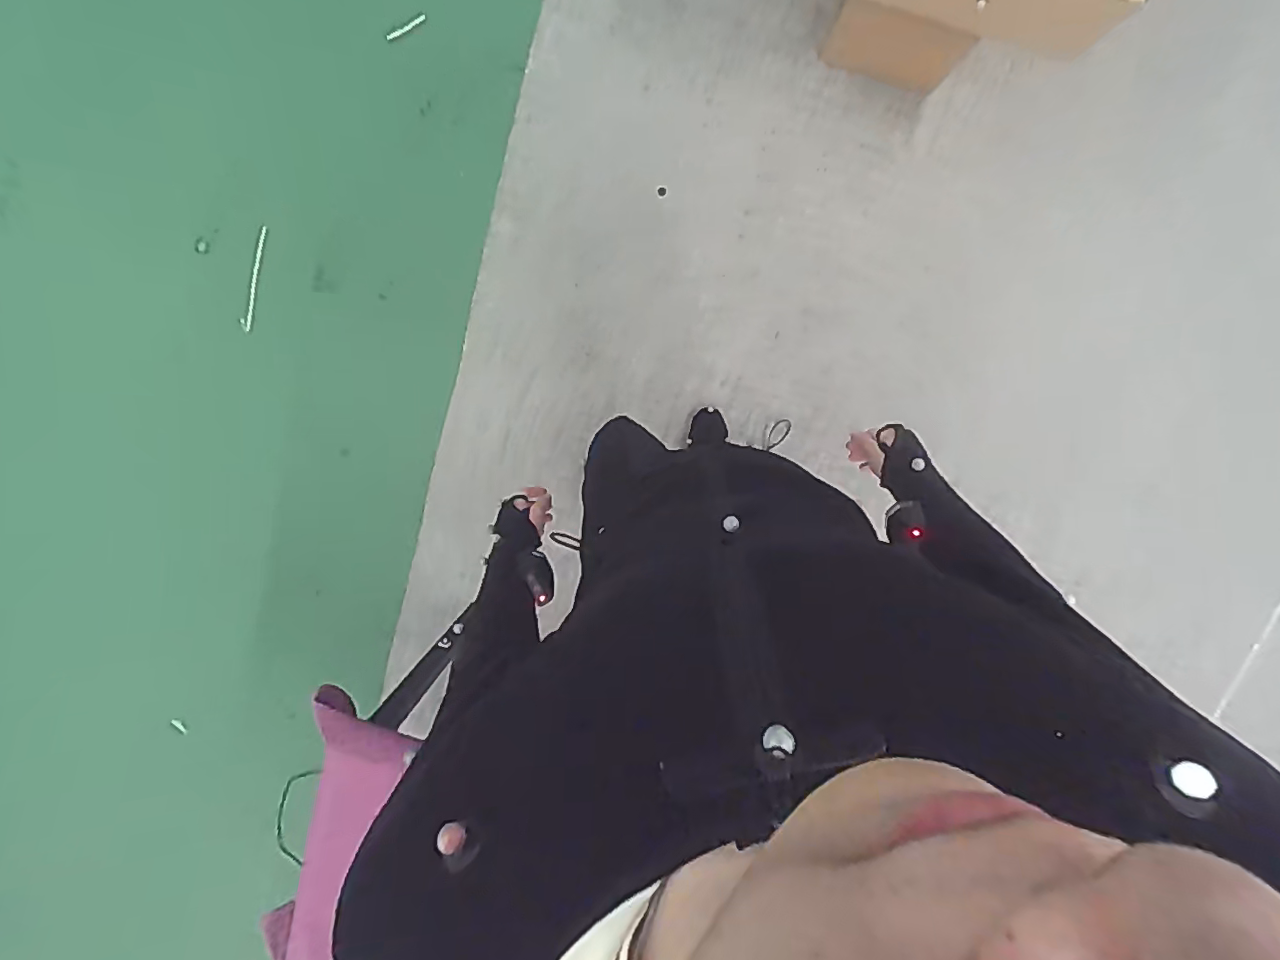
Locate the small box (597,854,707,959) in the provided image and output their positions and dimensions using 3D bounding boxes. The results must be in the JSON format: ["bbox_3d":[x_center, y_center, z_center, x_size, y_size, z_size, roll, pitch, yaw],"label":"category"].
[{"bbox_3d":[0.020,0.832,0.975,0.168,0.176,0.179,16,103,0],"label":"small box"}]
